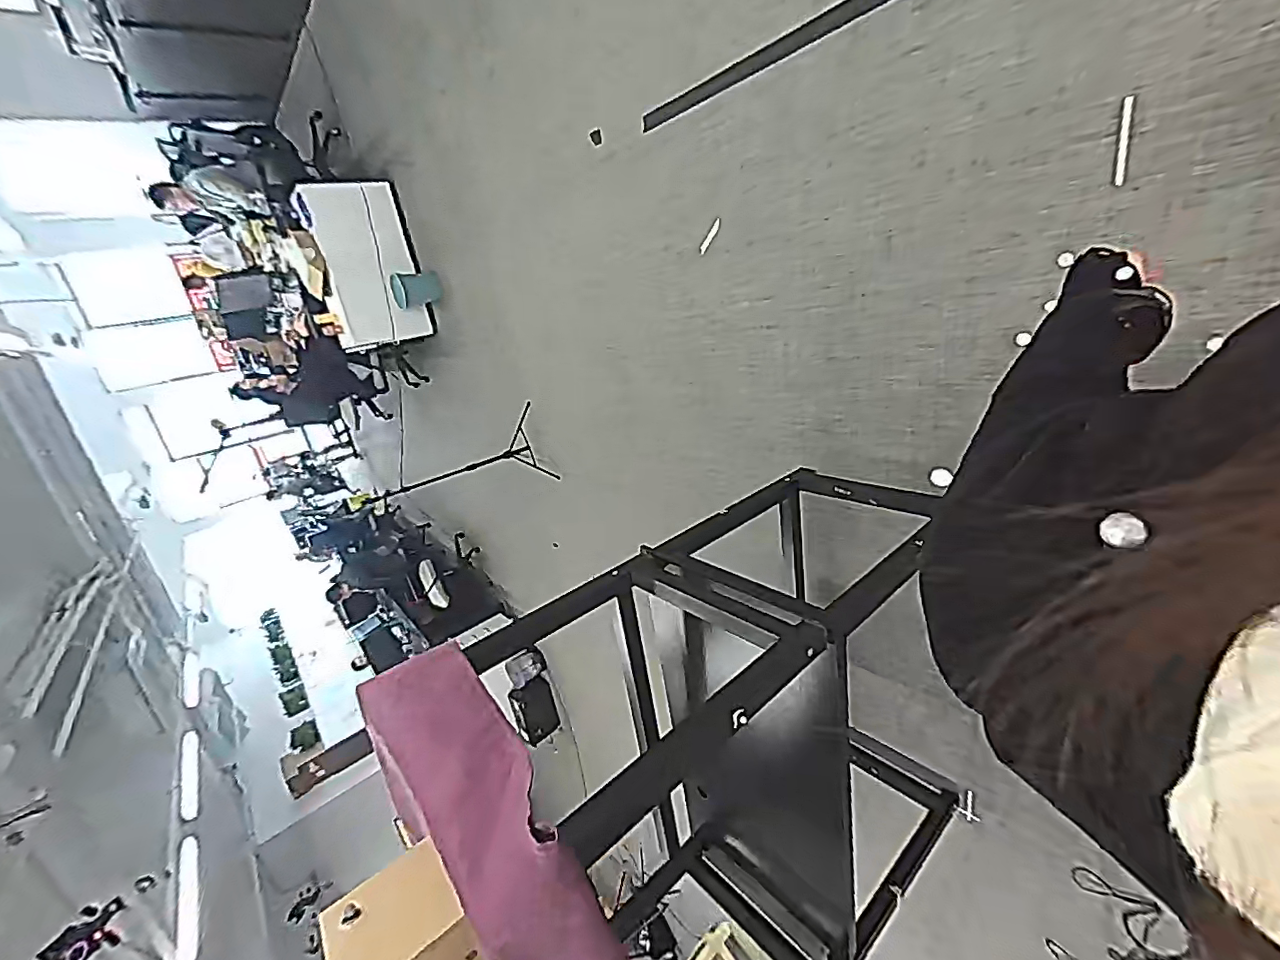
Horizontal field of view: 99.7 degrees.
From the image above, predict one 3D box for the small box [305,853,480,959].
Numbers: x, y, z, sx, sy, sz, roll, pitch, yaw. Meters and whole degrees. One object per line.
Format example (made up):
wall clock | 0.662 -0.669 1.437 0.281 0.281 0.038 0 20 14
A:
small box | -0.322 0.655 0.728 0.179 0.176 0.168 6 115 53
